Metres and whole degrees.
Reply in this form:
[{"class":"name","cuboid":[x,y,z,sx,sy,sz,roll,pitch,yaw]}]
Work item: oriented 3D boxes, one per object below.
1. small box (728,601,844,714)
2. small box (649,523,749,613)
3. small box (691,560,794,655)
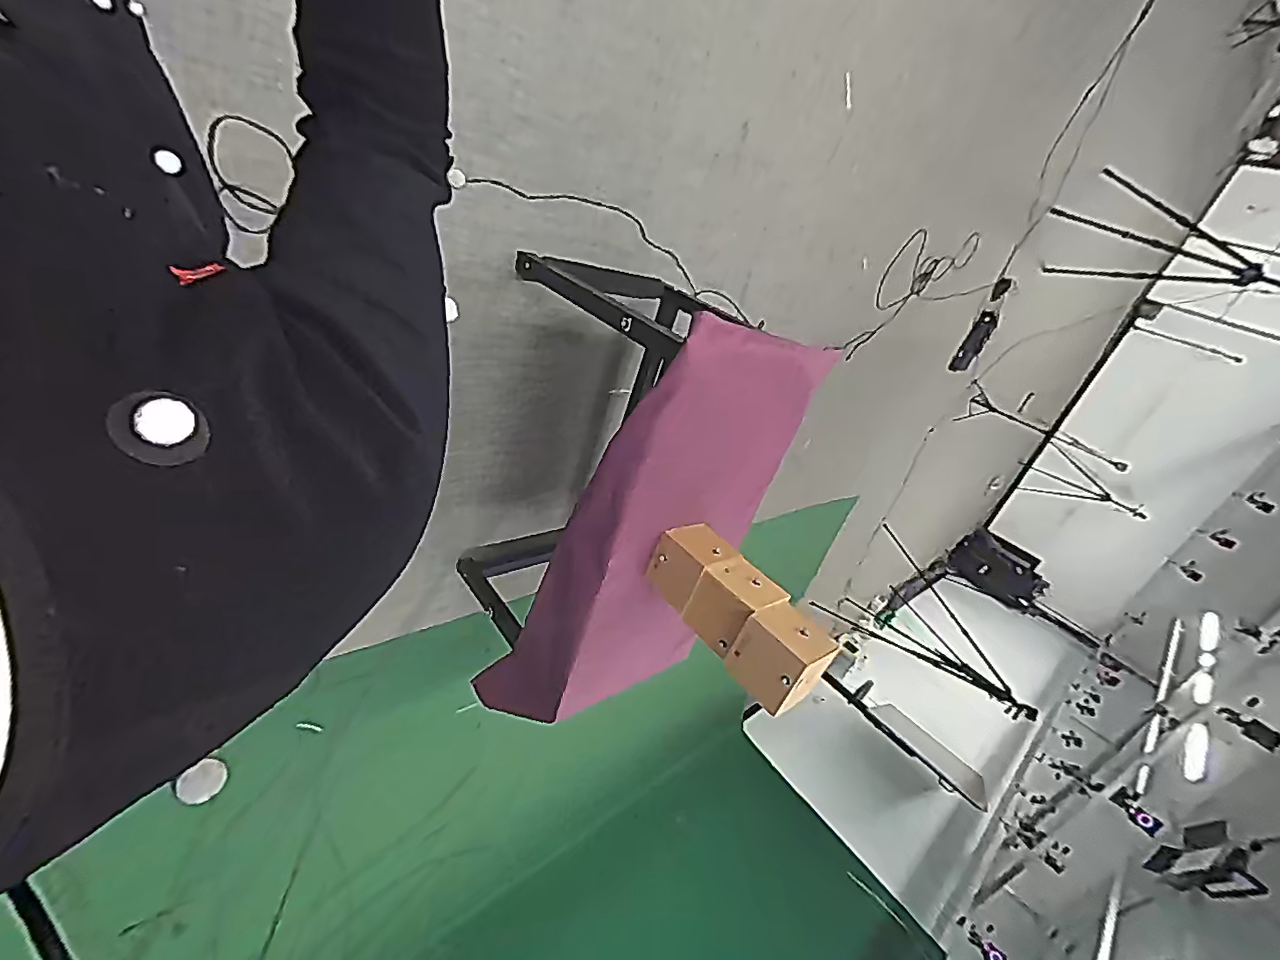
[{"class":"small box","cuboid":[0.345,0.412,1.287,0.179,0.176,0.168,-3,124,-47]},{"class":"small box","cuboid":[0.159,0.233,1.487,0.179,0.176,0.168,-3,123,-45]},{"class":"small box","cuboid":[0.259,0.323,1.398,0.168,0.176,0.179,-6,126,-44]}]
